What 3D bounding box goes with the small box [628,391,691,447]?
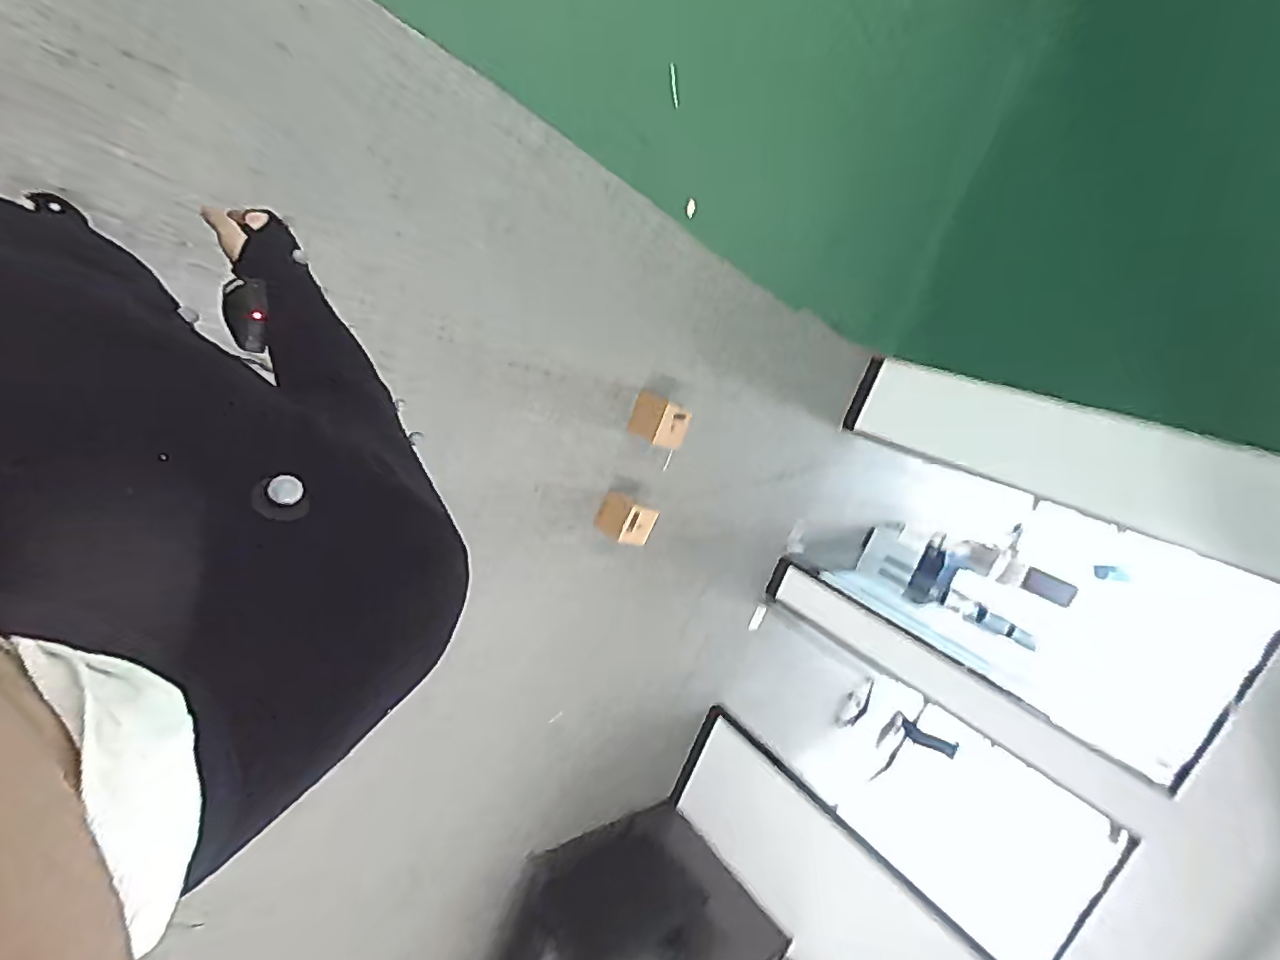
[{"bbox_3d":[0.077,-0.254,2.231,0.168,0.176,0.179,9,107,-46],"label":"small box"}]
